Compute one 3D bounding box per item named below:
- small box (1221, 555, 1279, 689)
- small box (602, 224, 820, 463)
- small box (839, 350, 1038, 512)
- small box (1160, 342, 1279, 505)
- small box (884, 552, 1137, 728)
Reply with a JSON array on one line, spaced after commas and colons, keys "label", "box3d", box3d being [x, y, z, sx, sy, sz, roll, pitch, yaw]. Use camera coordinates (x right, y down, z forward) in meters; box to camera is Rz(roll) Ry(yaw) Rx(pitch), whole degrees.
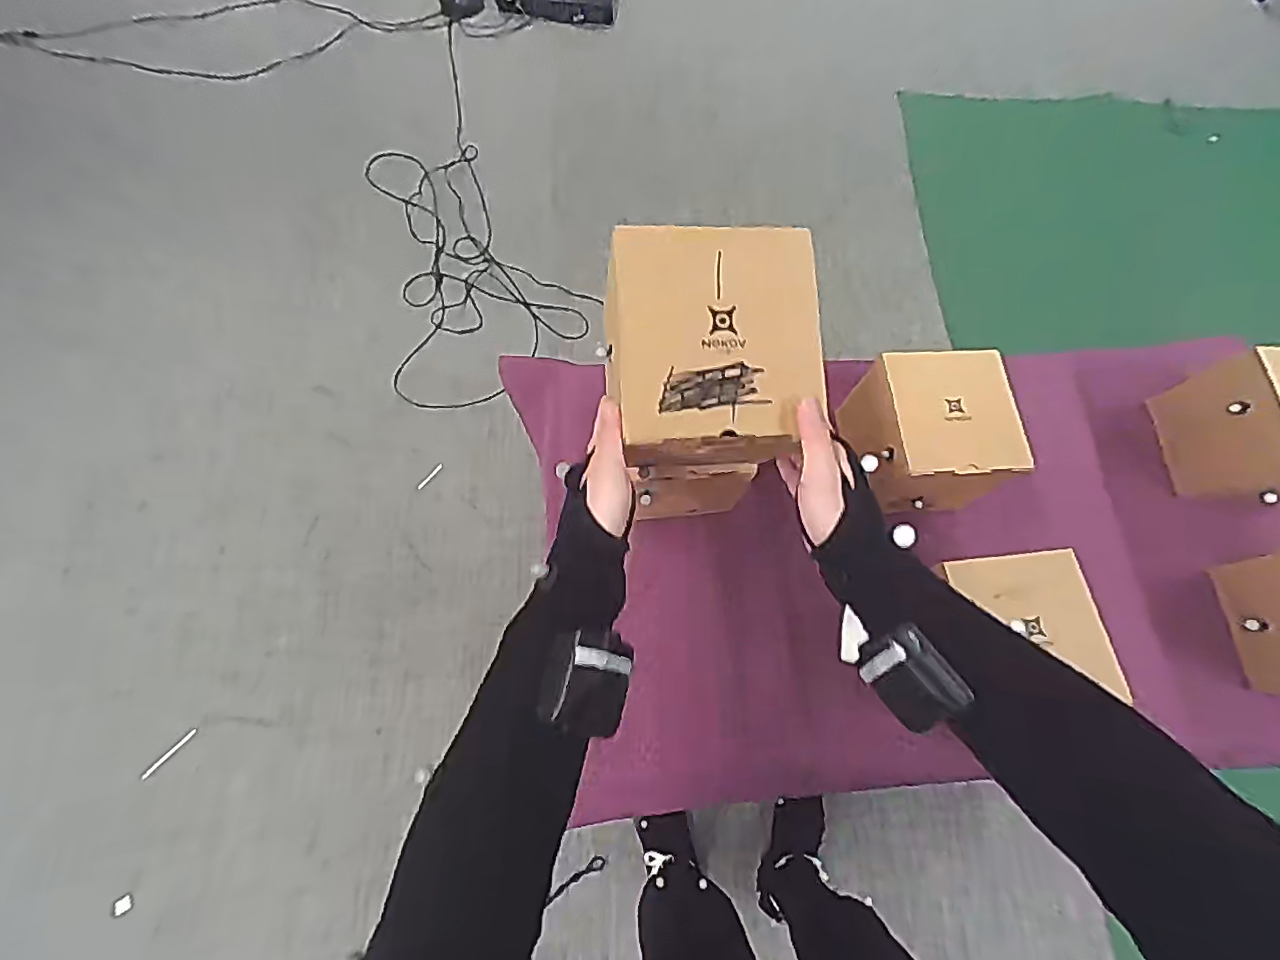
[{"label": "small box", "box3d": [0.923, 0.184, 0.687, 0.168, 0.176, 0.179, 3, 69, -1]}, {"label": "small box", "box3d": [0.051, -0.111, 0.505, 0.168, 0.176, 0.179, -3, 83, -6]}, {"label": "small box", "box3d": [0.401, -0.063, 0.763, 0.168, 0.176, 0.179, -2, 71, -4]}, {"label": "small box", "box3d": [0.921, -0.075, 0.782, 0.168, 0.176, 0.179, 3, 70, 0]}, {"label": "small box", "box3d": [0.433, 0.198, 0.668, 0.168, 0.176, 0.179, -5, 69, -4]}]
